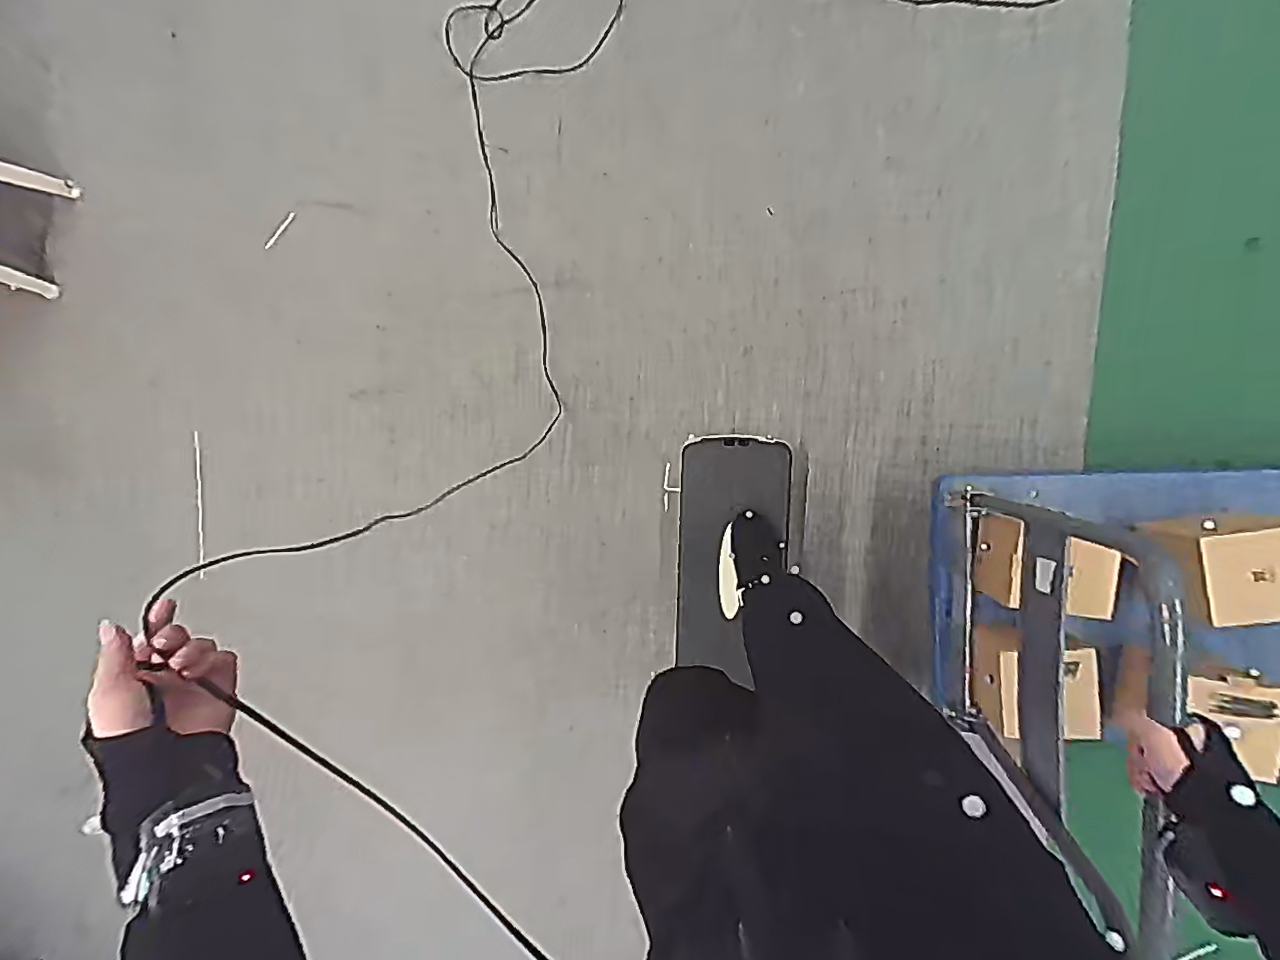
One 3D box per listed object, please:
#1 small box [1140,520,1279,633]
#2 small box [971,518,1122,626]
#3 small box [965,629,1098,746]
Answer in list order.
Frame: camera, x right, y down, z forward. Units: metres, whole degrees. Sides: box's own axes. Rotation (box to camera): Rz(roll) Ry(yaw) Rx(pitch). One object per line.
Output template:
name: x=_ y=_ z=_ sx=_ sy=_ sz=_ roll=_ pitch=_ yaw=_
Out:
small box: x=1.095 y=0.175 z=1.018 sx=0.179 sy=0.176 sz=0.168 roll=-10 pitch=92 yaw=11
small box: x=0.797 y=0.173 z=1.078 sx=0.179 sy=0.176 sz=0.168 roll=6 pitch=95 yaw=11
small box: x=0.779 y=0.409 z=1.093 sx=0.168 sy=0.176 sz=0.179 roll=-4 pitch=94 yaw=12
